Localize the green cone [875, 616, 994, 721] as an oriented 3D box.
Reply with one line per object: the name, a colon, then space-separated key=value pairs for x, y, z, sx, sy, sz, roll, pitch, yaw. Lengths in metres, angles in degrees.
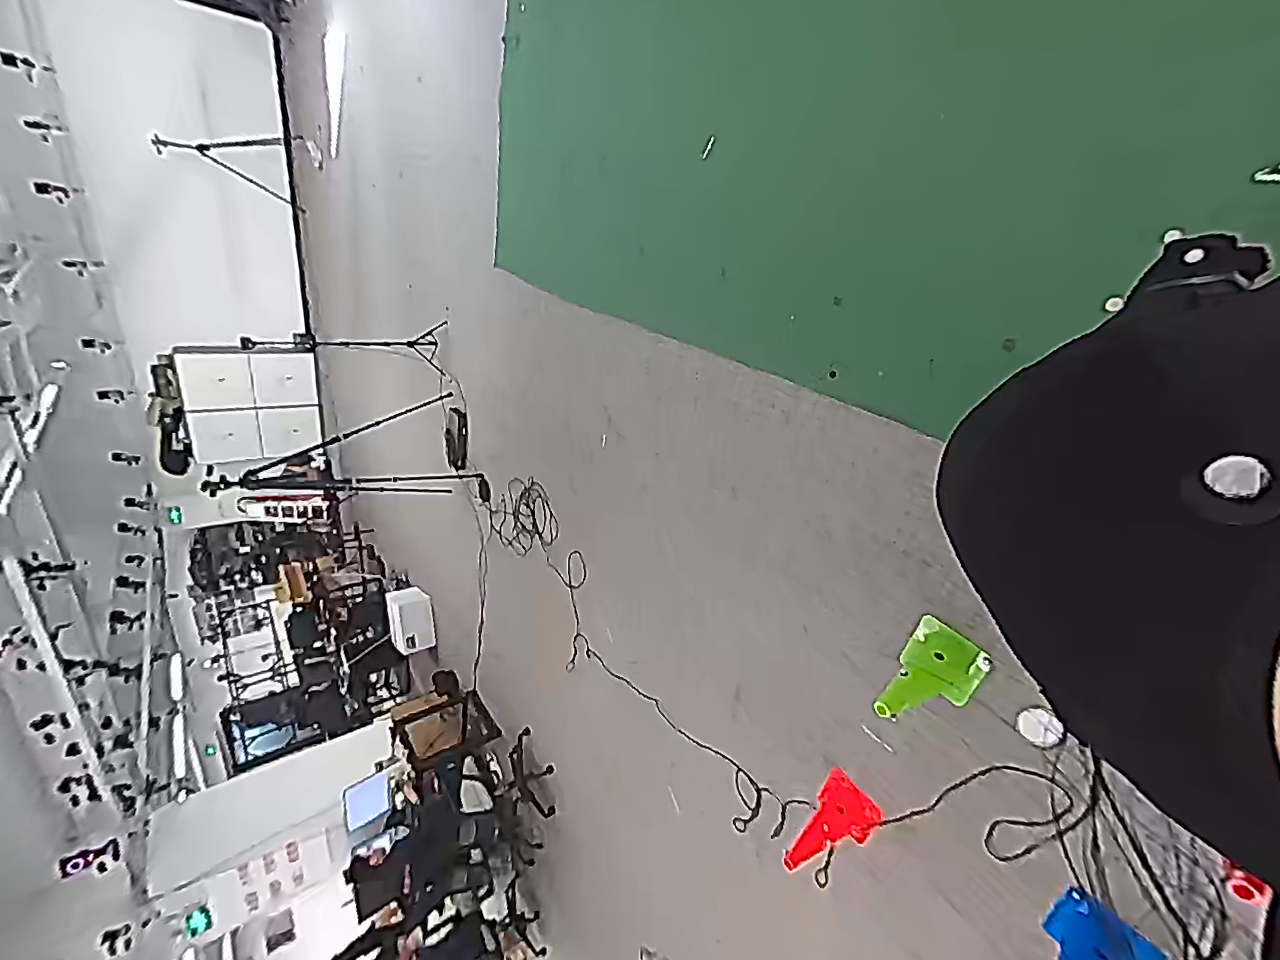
green cone: x=0.743 y=0.544 z=1.449 sx=0.200 sy=0.368 sz=0.202 roll=38 pitch=128 yaw=41

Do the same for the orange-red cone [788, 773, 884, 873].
orange-red cone: x=0.608 y=1.178 z=1.790 sx=0.198 sy=0.360 sz=0.199 roll=39 pitch=126 yaw=39
